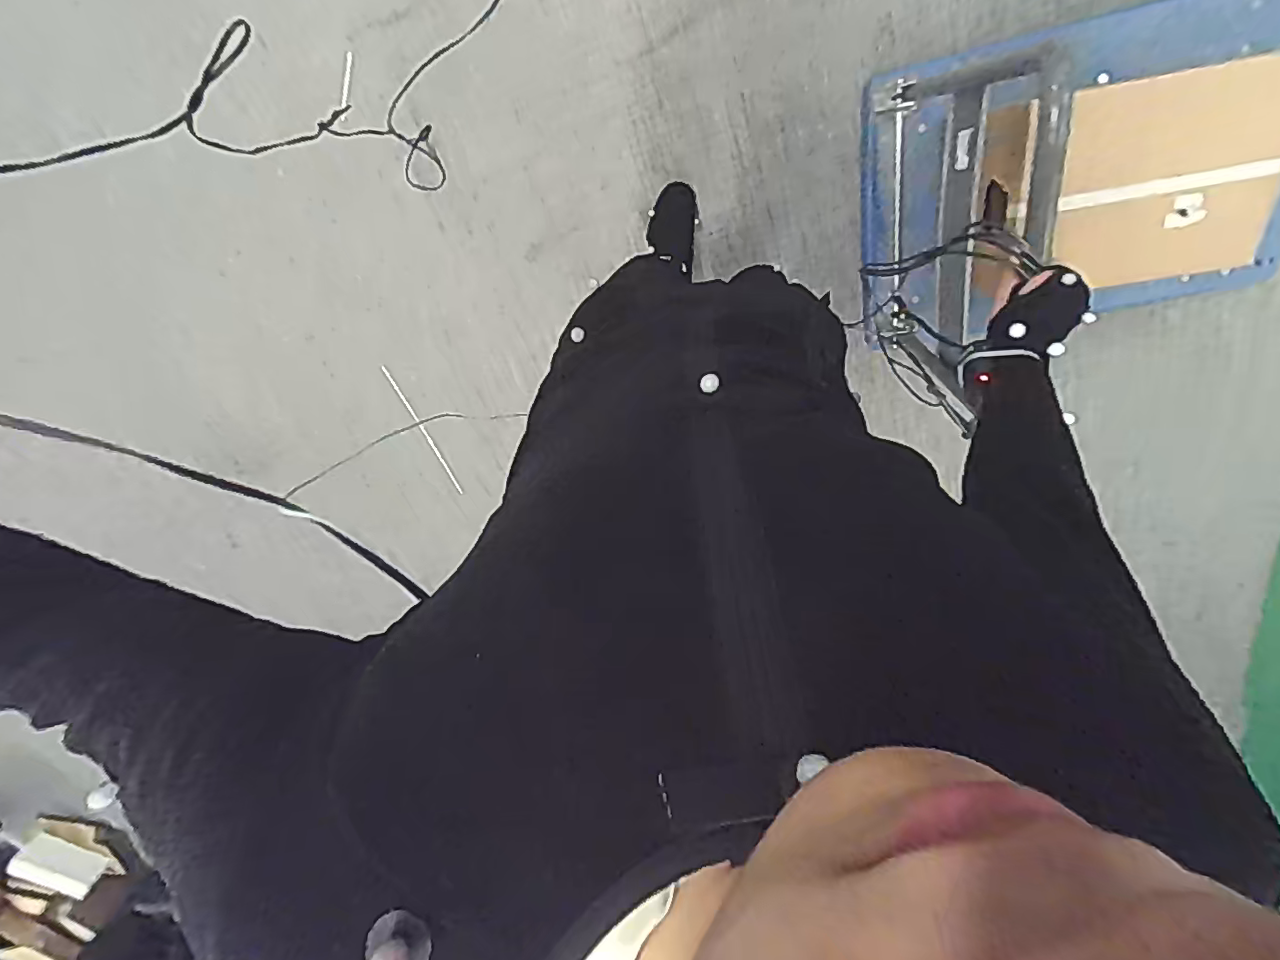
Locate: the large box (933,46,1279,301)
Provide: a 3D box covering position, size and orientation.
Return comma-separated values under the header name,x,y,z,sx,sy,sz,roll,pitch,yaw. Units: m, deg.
name,x,y,z,sx,sy,sz,roll,pitch,yaw
large box,0.826,-0.555,1.015,0.408,0.320,0.320,-7,120,7
